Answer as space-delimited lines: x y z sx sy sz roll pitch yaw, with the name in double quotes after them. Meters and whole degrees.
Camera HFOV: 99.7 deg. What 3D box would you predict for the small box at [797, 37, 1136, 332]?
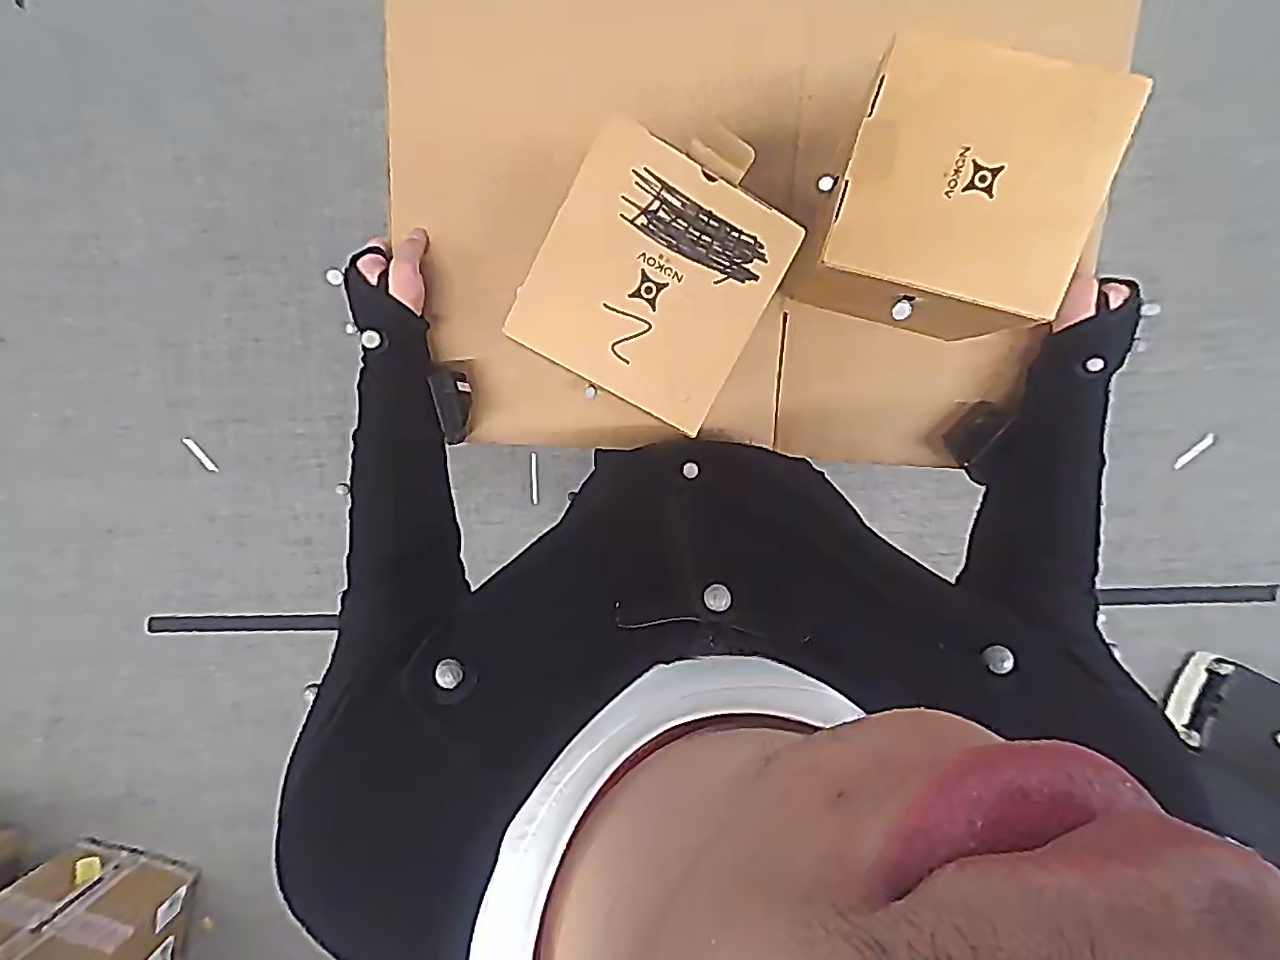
0.256 -0.236 0.480 0.179 0.176 0.168 17 102 6 "small box"
